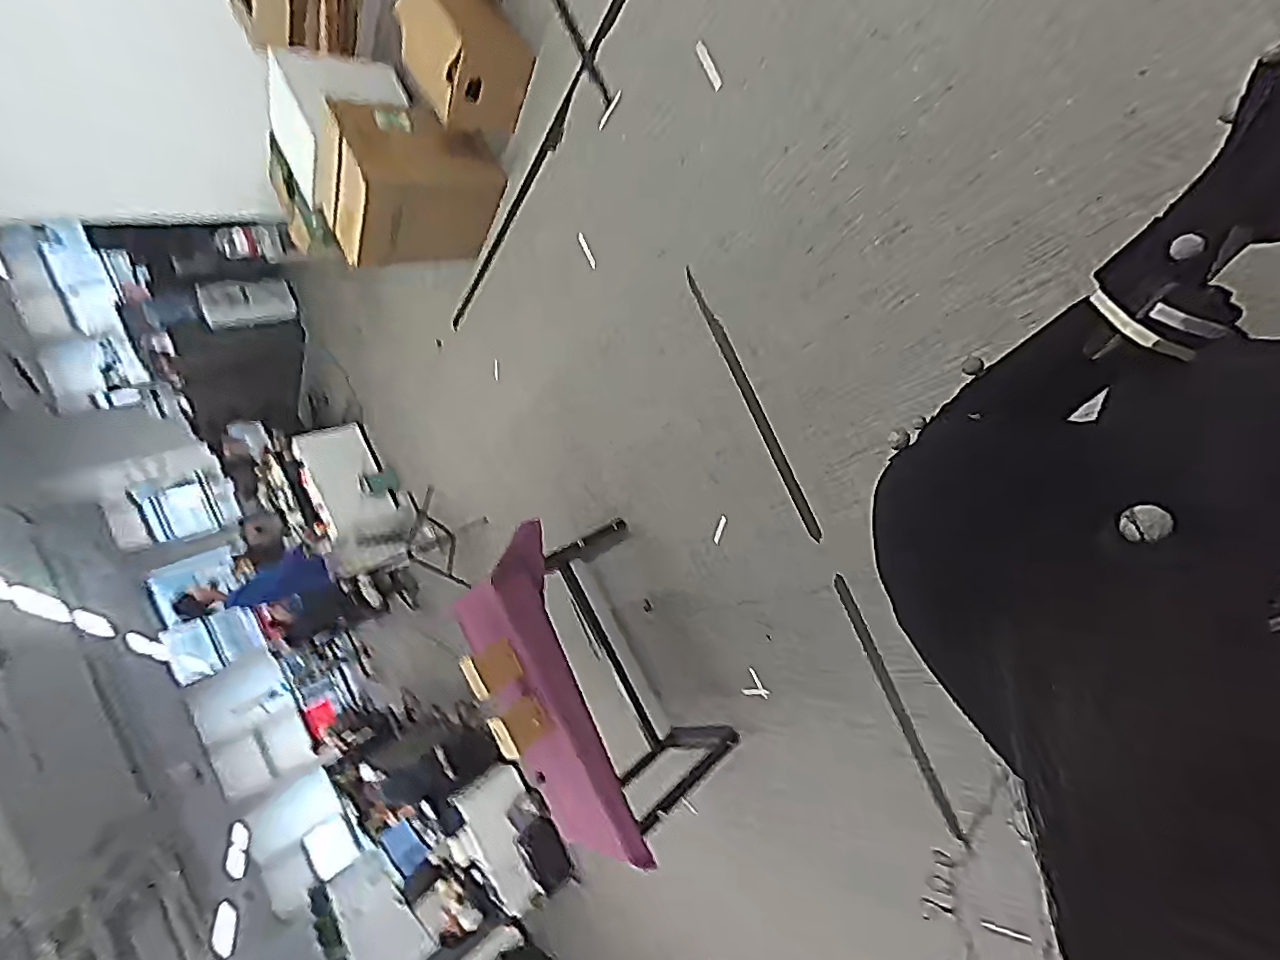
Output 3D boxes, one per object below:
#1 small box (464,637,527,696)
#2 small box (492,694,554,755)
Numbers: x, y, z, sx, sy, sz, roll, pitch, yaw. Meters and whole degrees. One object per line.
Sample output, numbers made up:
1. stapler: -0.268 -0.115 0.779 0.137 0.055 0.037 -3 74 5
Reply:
1. small box: -0.599 0.767 2.241 0.168 0.176 0.179 -39 78 51
2. small box: -0.476 0.998 2.212 0.179 0.176 0.168 -39 78 50
